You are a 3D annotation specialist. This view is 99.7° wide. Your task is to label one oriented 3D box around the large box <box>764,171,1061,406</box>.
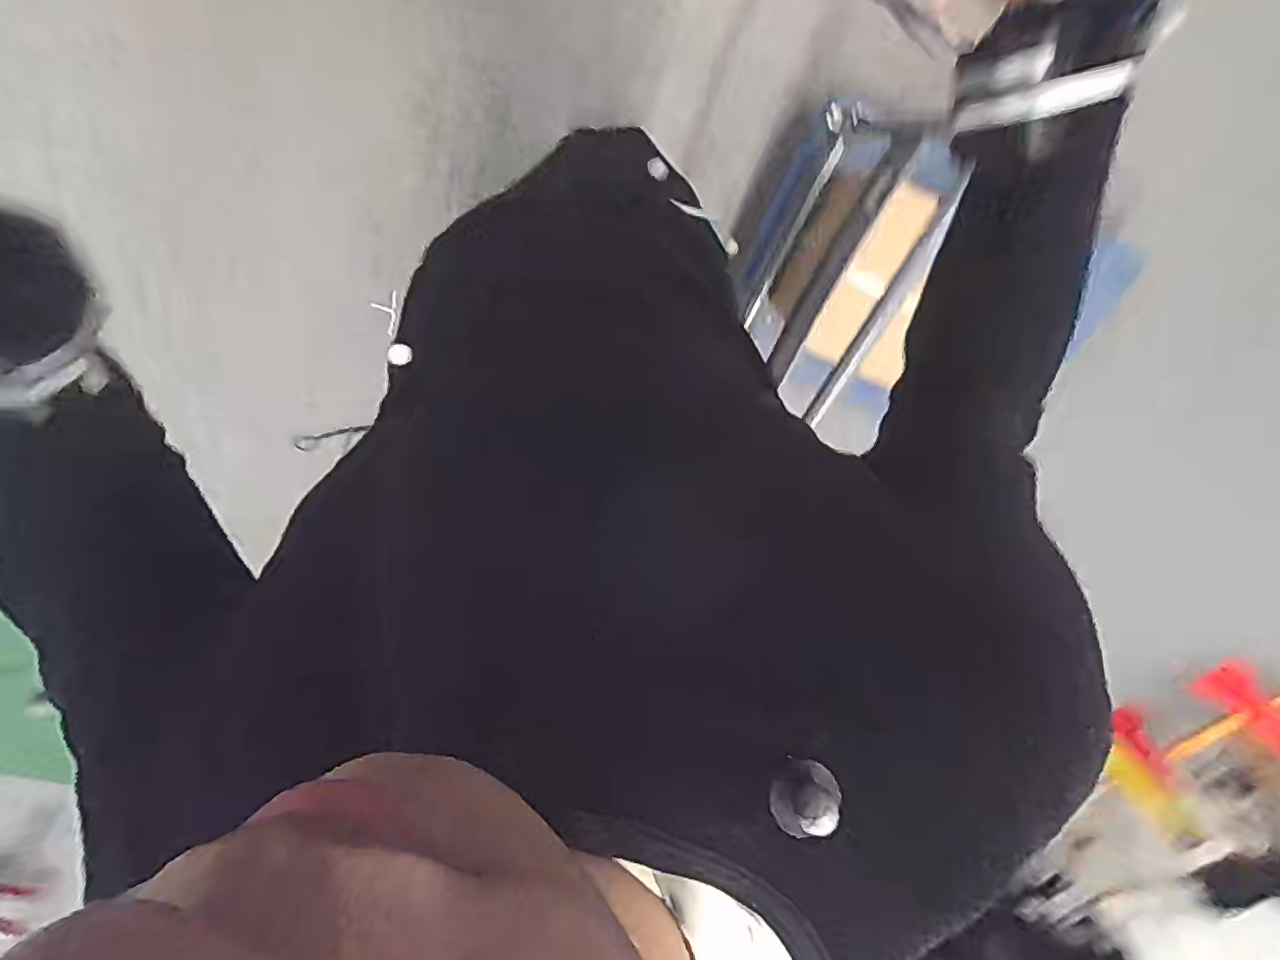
[{"bbox_3d":[0.538,-0.414,1.156,0.408,0.320,0.320,19,122,-14],"label":"large box"}]
